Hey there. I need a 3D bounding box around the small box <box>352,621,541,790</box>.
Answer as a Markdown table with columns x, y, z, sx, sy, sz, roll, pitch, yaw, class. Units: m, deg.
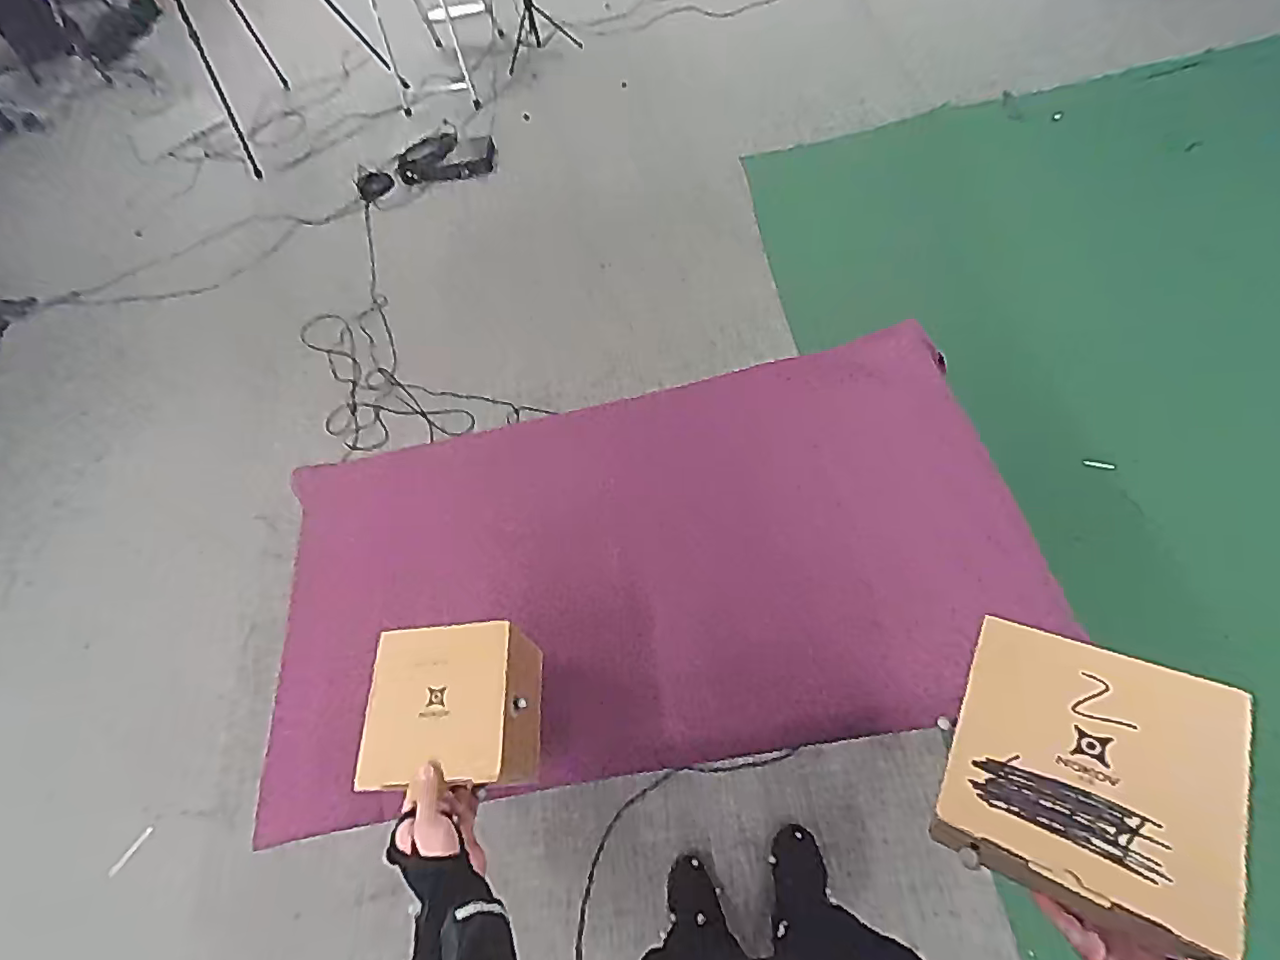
| x | y | z | sx | sy | sz | roll | pitch | yaw | class |
| --- | --- | --- | --- | --- | --- | --- | --- | --- | --- |
| -0.230 | 0.294 | 0.695 | 0.168 | 0.176 | 0.179 | -5 | 59 | 3 | small box |
